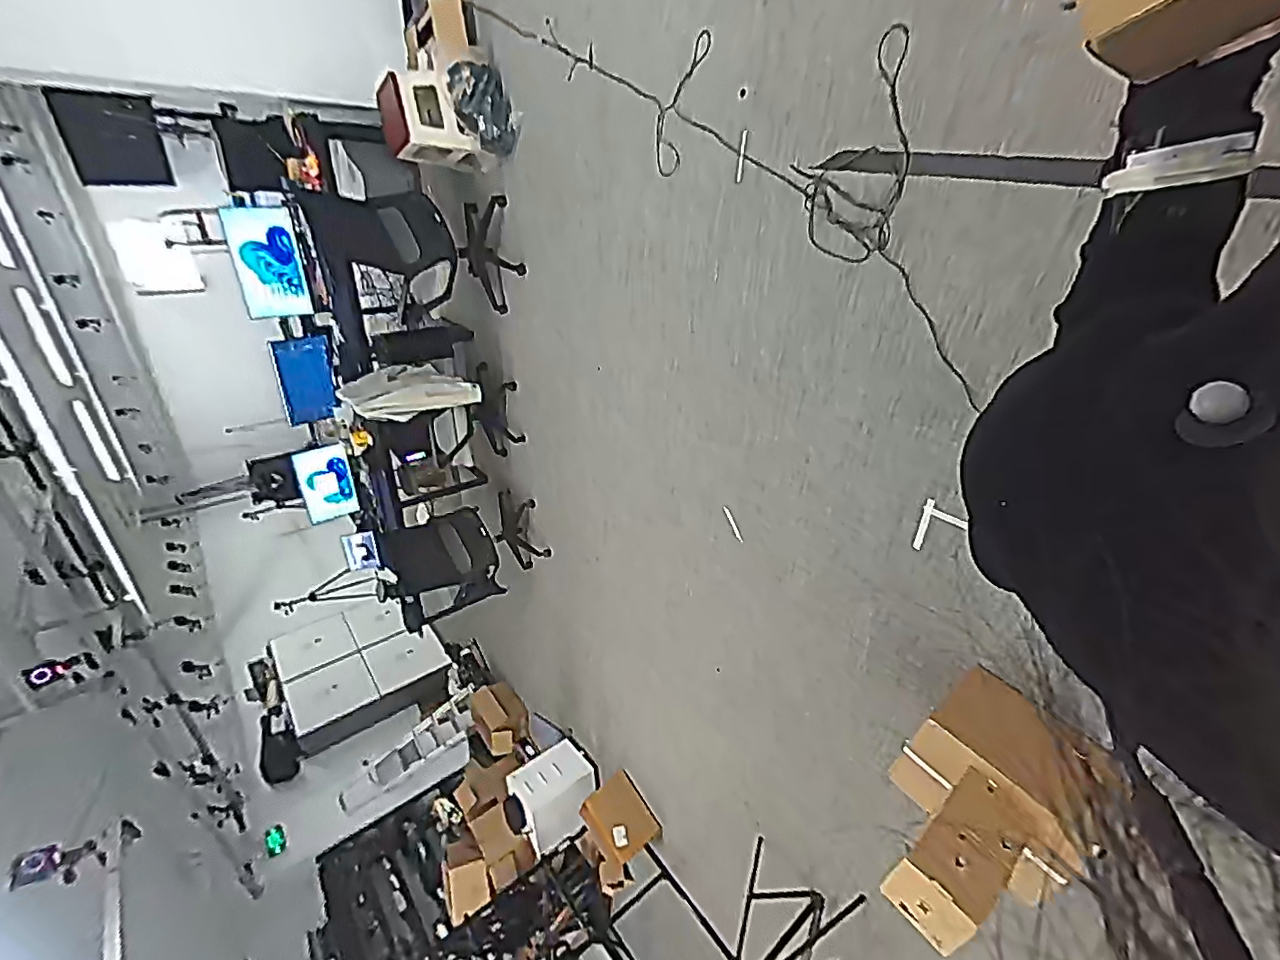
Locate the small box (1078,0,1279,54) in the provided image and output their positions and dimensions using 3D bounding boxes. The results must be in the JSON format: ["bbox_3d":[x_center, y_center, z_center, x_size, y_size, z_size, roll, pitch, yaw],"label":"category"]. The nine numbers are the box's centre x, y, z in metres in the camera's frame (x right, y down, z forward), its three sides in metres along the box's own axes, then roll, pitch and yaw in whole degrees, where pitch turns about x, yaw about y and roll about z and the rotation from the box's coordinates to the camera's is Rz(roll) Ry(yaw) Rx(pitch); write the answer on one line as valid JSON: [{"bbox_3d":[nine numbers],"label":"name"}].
[{"bbox_3d":[0.275,-0.305,0.207,0.168,0.176,0.179,-8,104,50],"label":"small box"}]

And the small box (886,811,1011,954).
[{"bbox_3d":[0.700,0.902,1.225,0.168,0.176,0.179,38,134,37],"label":"small box"}]
